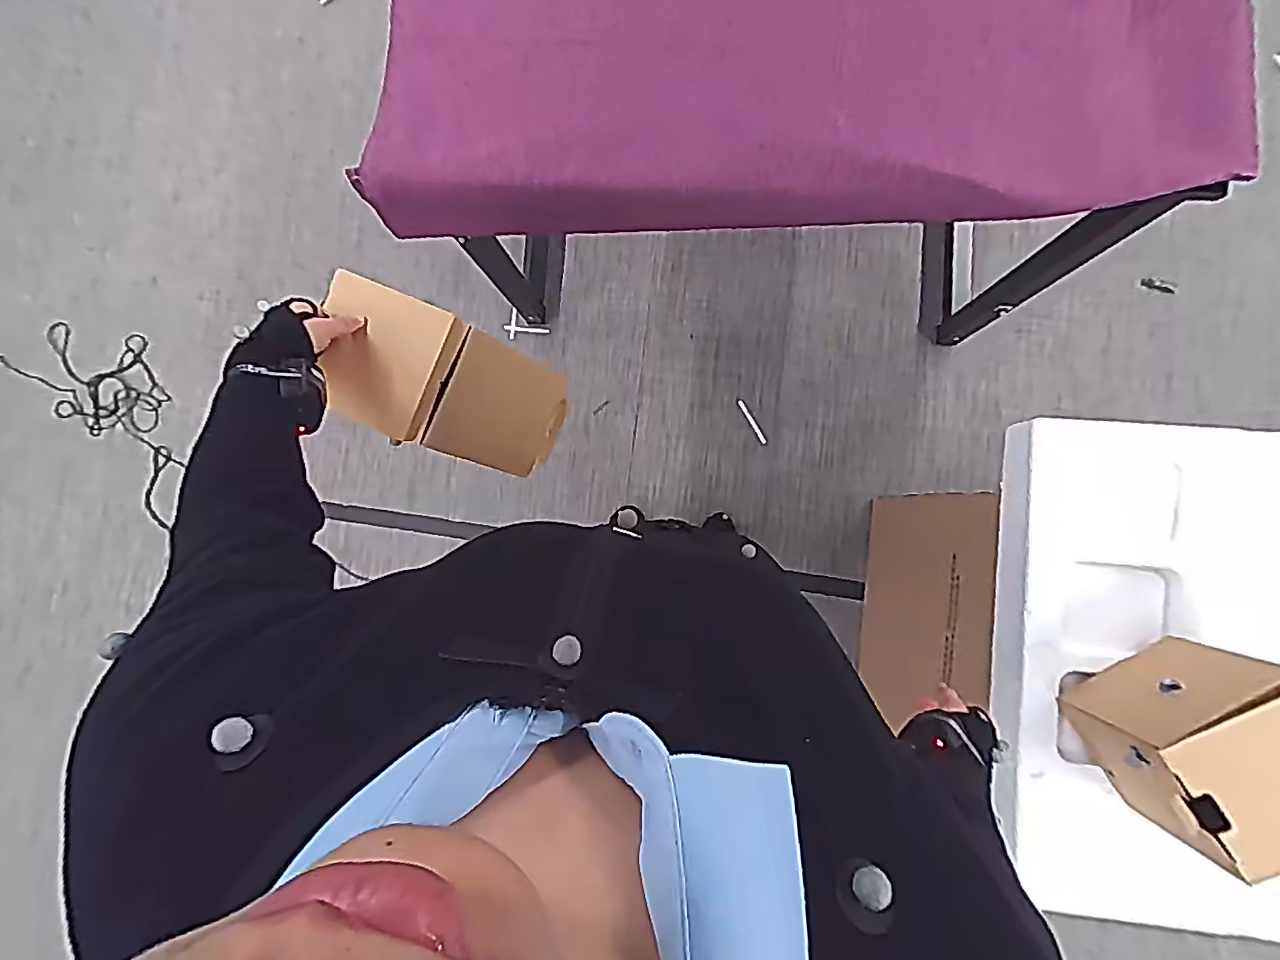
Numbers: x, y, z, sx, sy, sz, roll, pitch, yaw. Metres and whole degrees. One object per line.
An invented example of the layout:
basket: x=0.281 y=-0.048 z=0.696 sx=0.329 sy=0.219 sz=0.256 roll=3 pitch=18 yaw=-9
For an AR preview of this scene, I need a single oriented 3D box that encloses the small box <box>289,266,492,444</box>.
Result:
small box: x=-0.324 y=-0.159 z=0.745 sx=0.179 sy=0.176 sz=0.168 roll=24 pitch=91 yaw=-5
